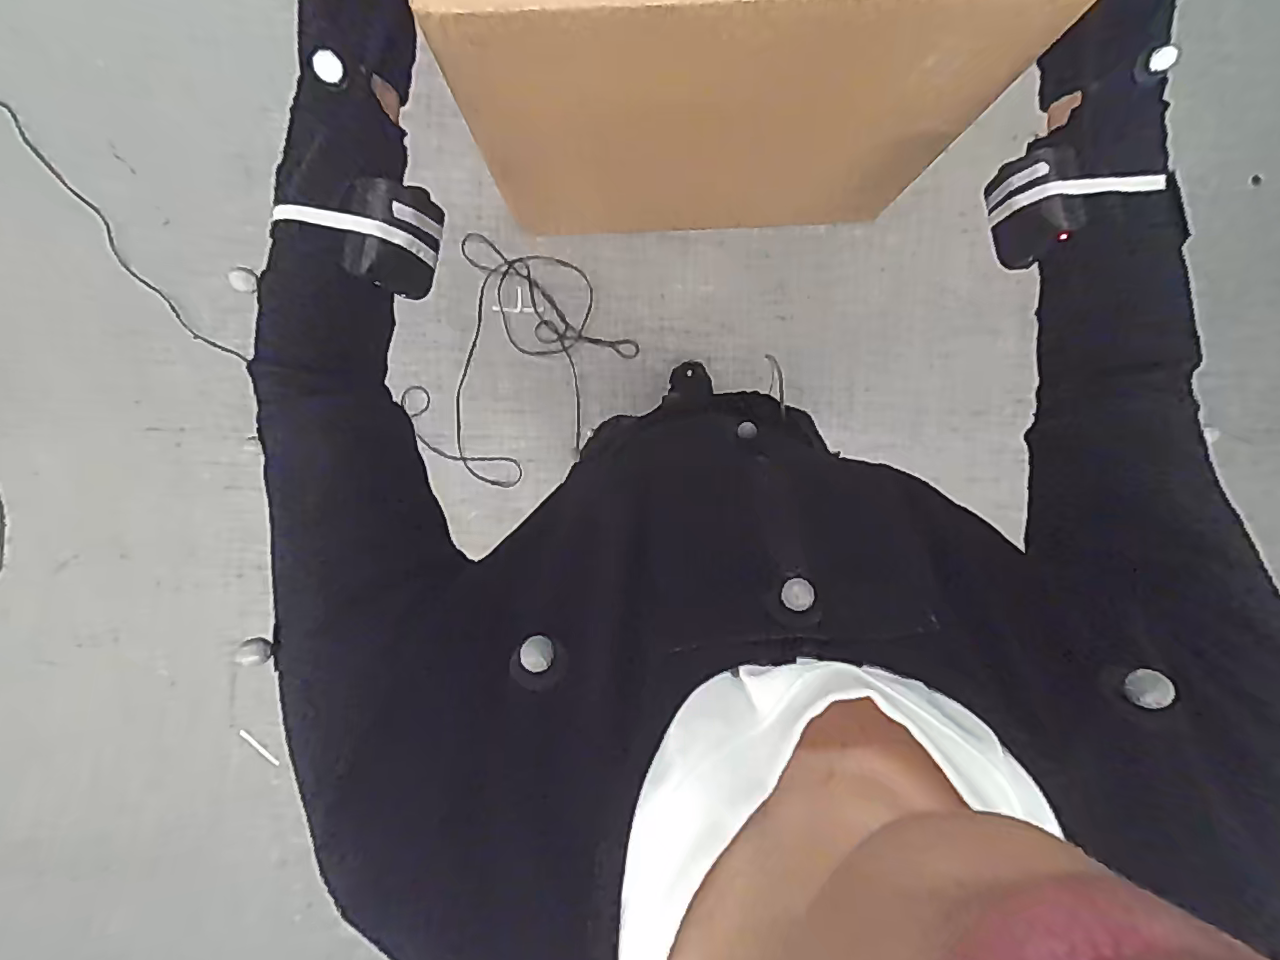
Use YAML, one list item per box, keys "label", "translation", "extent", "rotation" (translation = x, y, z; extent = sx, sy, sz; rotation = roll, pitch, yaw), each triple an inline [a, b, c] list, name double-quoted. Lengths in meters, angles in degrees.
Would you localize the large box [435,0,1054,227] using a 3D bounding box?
- label: "large box"
  translation: [0.058, -0.444, 0.461]
  extent: [0.408, 0.320, 0.320]
  rotation: [-4, 93, -2]
